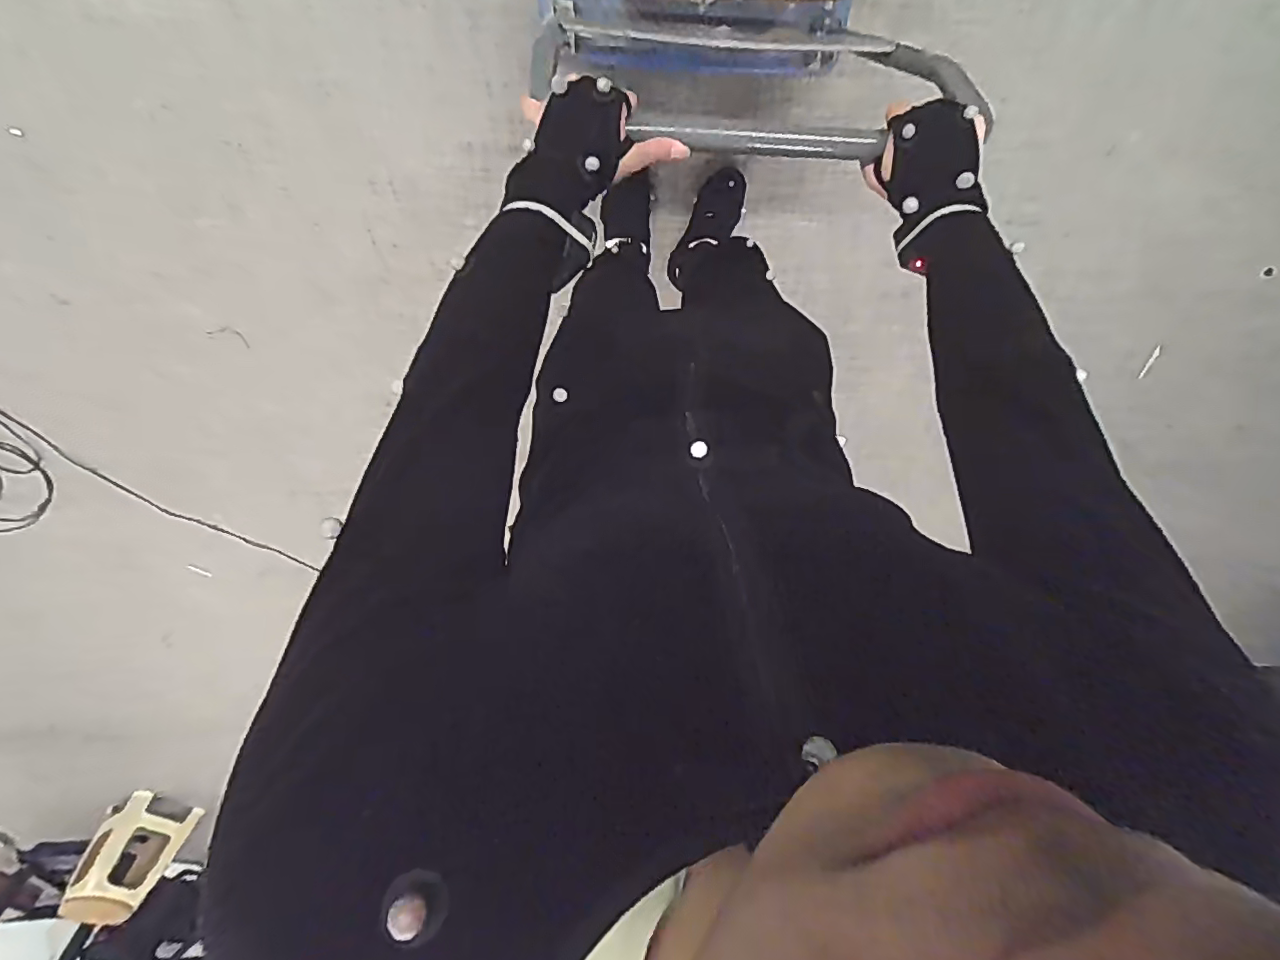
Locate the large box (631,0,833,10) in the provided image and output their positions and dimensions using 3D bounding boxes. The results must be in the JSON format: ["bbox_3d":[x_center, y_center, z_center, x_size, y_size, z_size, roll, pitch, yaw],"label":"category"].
[{"bbox_3d":[0.139,-0.928,0.753,0.320,0.320,0.408,0,129,-4],"label":"large box"}]
